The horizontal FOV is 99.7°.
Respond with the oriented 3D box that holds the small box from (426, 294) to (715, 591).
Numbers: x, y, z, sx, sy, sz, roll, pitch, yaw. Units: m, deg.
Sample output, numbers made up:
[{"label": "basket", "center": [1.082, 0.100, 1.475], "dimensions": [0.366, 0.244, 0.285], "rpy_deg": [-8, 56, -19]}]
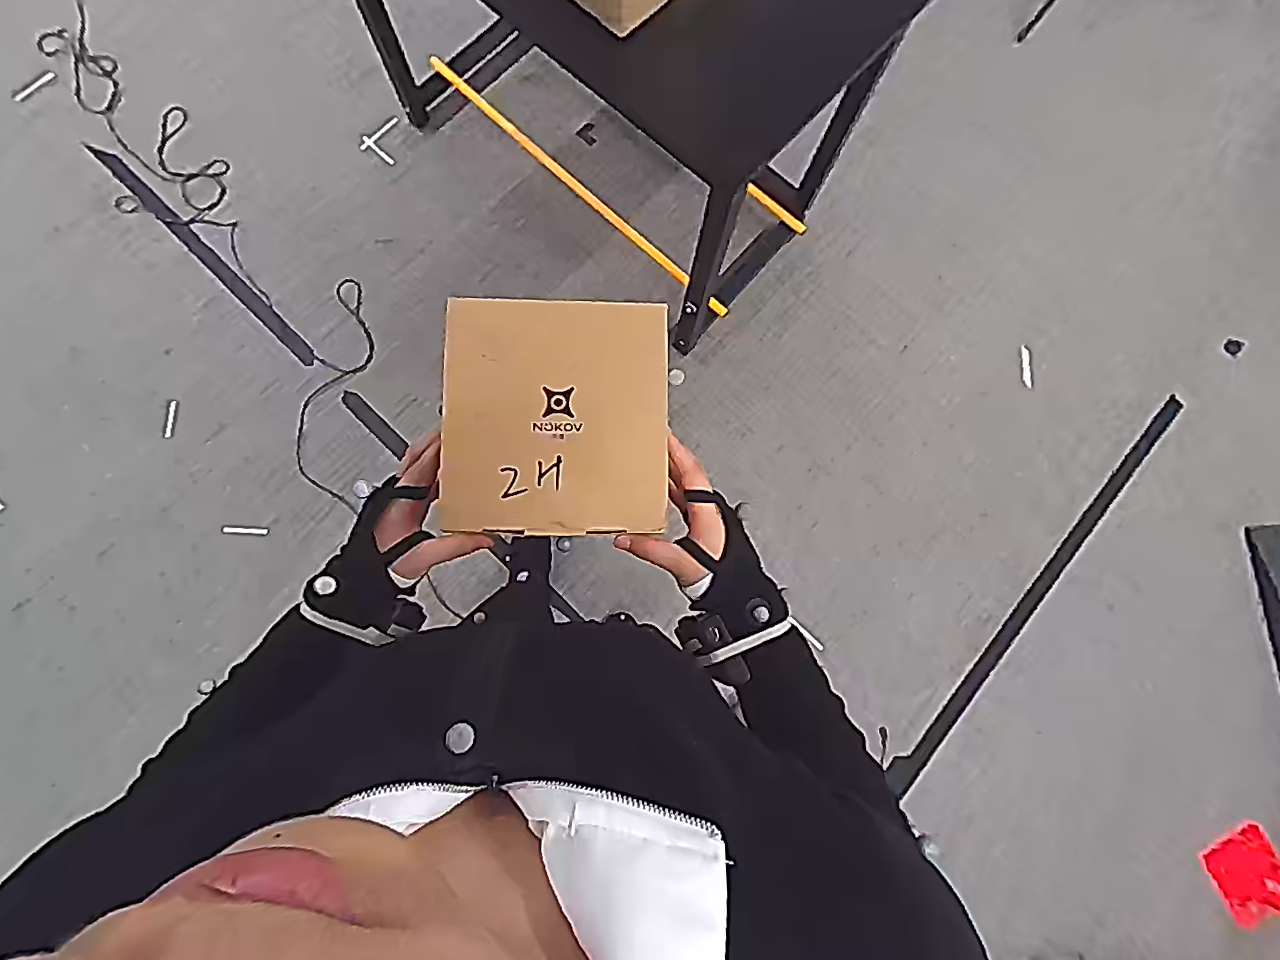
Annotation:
[{"label": "small box", "center": [-0.043, -0.015, 0.394], "dimensions": [0.168, 0.176, 0.179], "rpy_deg": [0, 84, -3]}]
